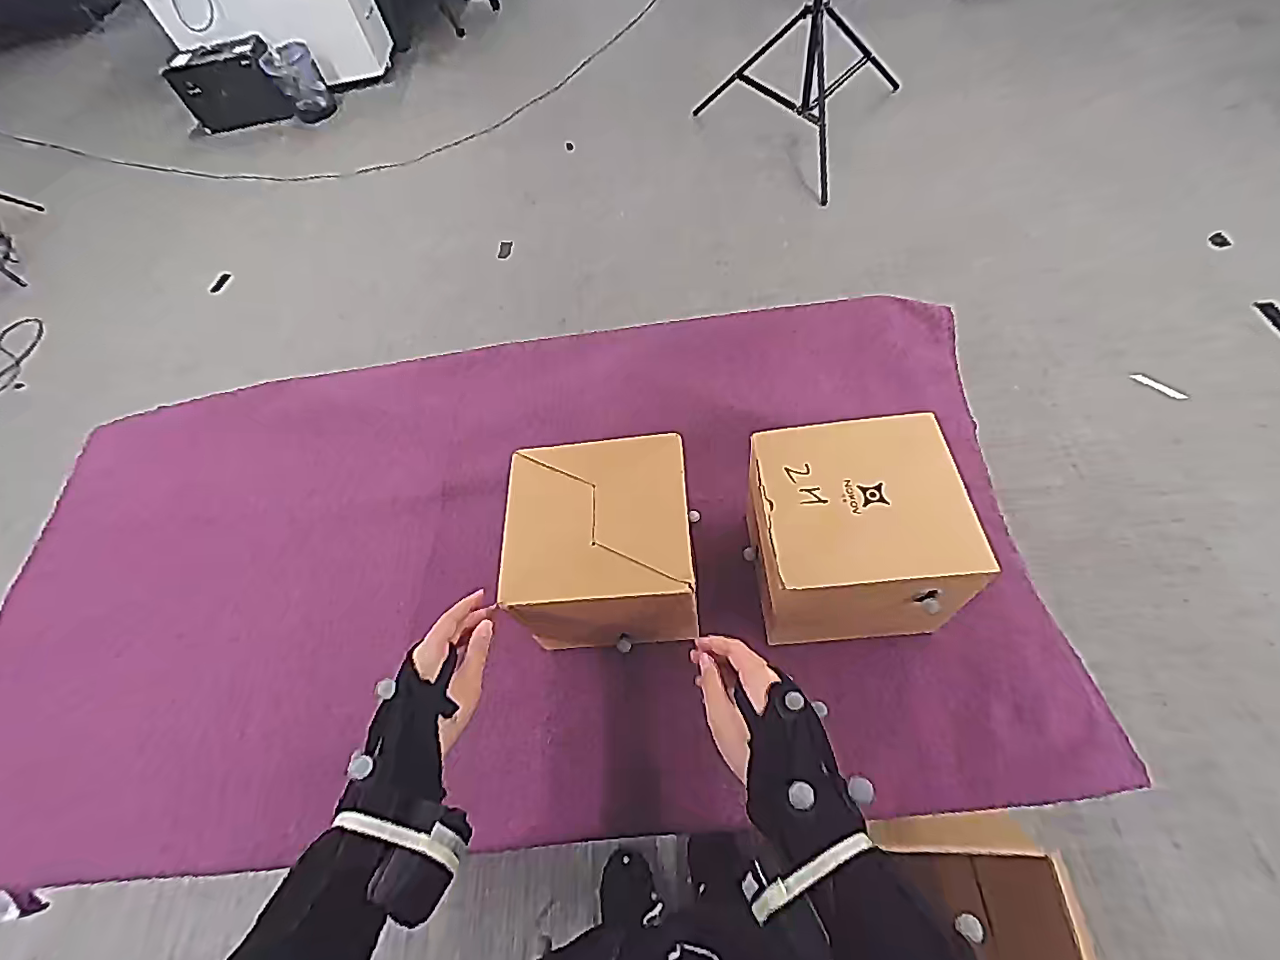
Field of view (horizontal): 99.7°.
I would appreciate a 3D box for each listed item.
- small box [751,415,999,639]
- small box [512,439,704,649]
[{"bbox_3d":[0.214,0.056,0.553,0.179,0.176,0.168,-6,57,5],"label":"small box"},{"bbox_3d":[-0.029,0.072,0.581,0.179,0.176,0.168,-6,58,6],"label":"small box"}]
